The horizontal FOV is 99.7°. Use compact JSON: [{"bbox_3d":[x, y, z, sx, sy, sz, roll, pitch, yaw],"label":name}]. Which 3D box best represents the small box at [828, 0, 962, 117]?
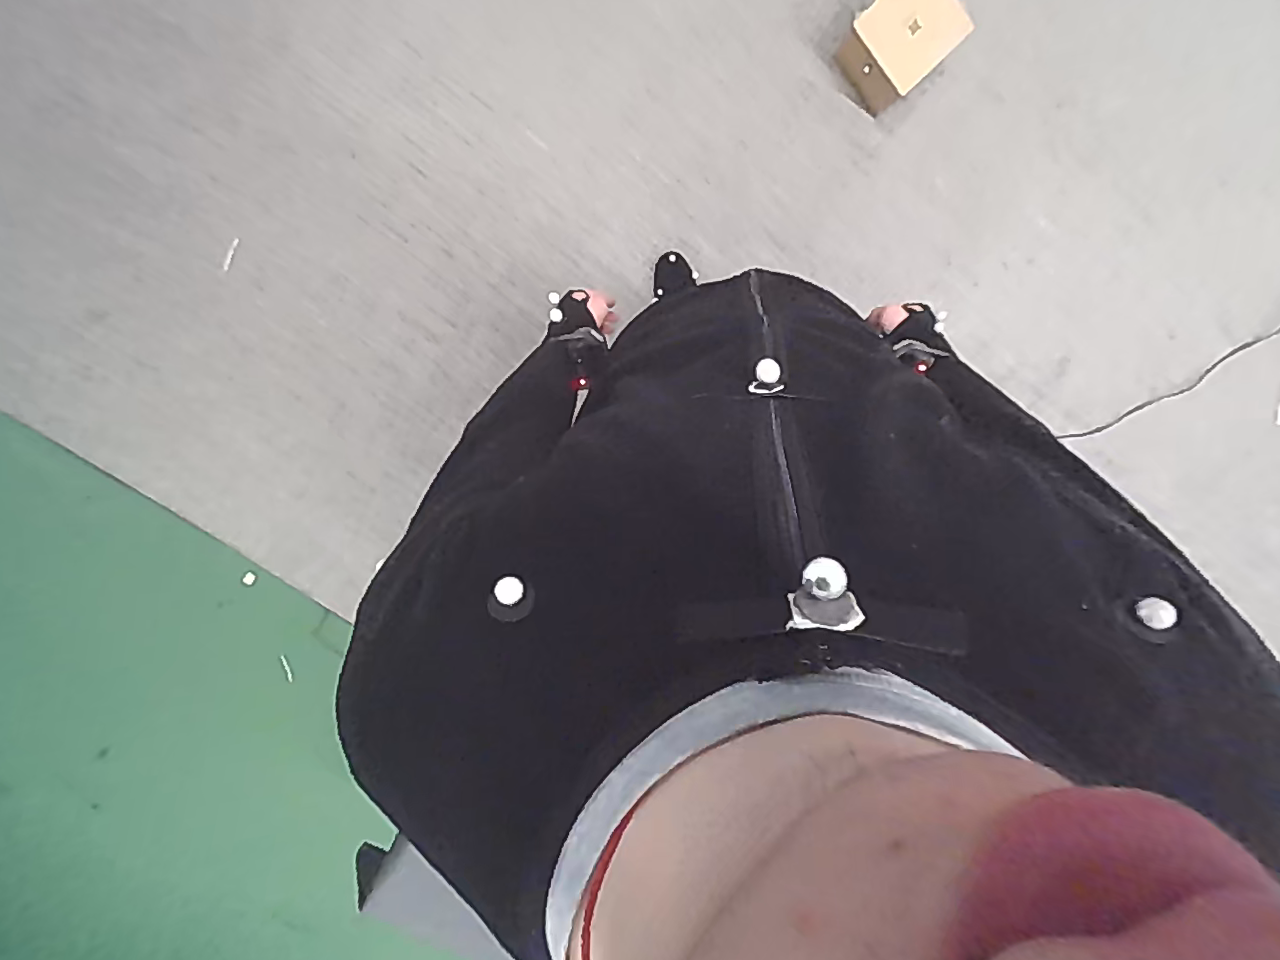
[{"bbox_3d":[0.533,-0.925,1.158,0.168,0.176,0.179,-40,104,18],"label":"small box"}]
